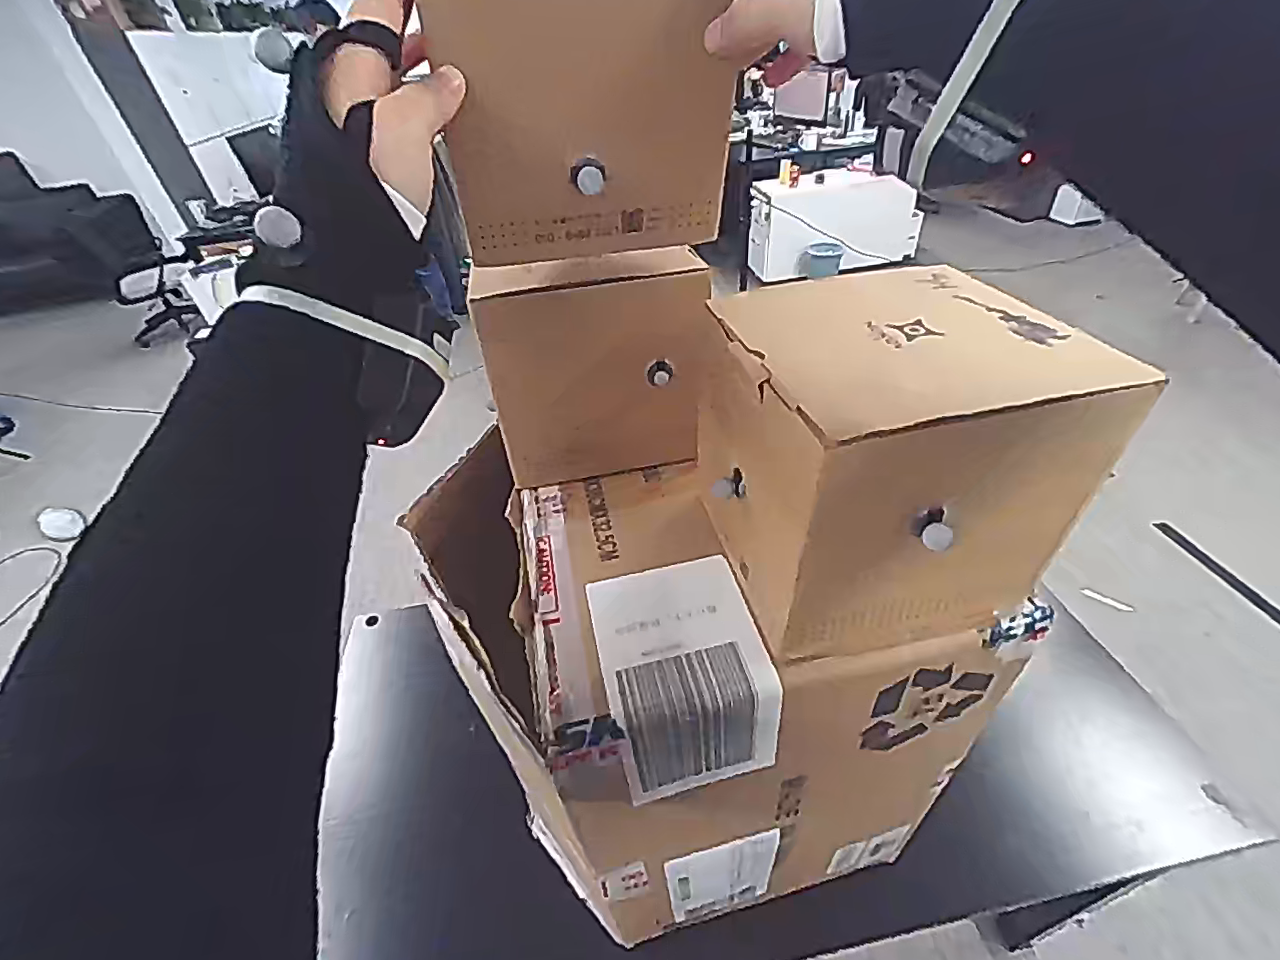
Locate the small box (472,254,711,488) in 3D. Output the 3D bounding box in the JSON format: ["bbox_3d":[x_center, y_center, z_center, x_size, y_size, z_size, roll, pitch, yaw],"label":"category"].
[{"bbox_3d":[-0.043,-0.115,0.495,0.179,0.176,0.168,-11,37,-7],"label":"small box"}]

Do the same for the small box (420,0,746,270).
[{"bbox_3d":[-0.046,-0.262,0.357,0.168,0.176,0.179,-11,51,-10],"label":"small box"}]

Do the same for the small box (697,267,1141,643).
[{"bbox_3d":[0.145,-0.017,0.356,0.179,0.176,0.168,-12,42,-7],"label":"small box"}]
